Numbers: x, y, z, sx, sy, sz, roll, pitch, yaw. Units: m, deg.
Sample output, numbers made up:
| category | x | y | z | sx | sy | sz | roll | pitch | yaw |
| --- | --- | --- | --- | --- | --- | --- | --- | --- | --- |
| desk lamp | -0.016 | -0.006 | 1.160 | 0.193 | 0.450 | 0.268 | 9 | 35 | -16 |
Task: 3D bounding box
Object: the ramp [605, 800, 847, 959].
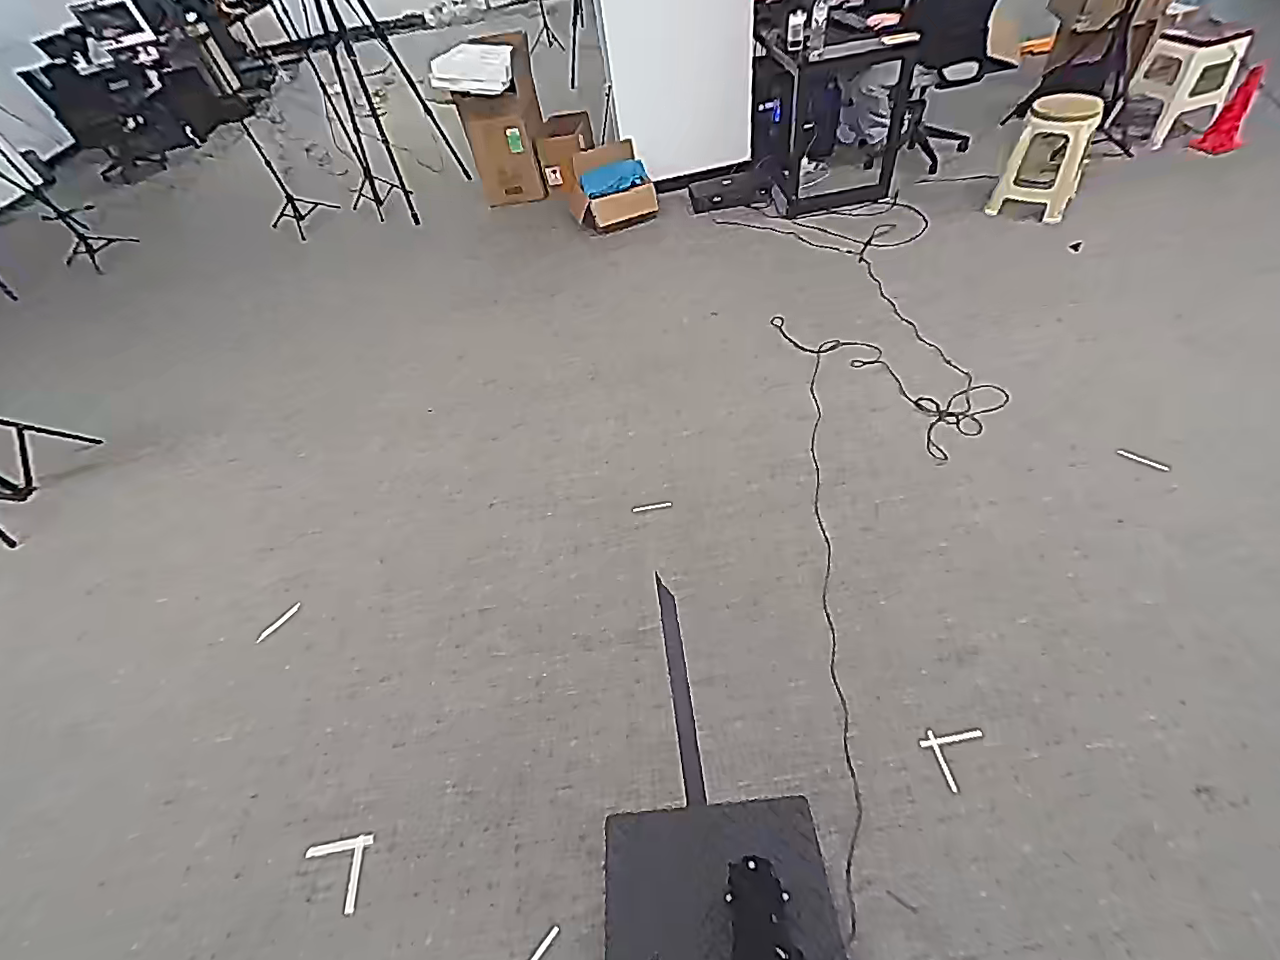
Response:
| category | x | y | z | sx | sy | sz | roll | pitch | yaw |
| --- | --- | --- | --- | --- | --- | --- | --- | --- | --- |
| ramp | 0.176 | 1.114 | 0.924 | 0.509 | 0.206 | 0.991 | -10 | 49 | 3 |
